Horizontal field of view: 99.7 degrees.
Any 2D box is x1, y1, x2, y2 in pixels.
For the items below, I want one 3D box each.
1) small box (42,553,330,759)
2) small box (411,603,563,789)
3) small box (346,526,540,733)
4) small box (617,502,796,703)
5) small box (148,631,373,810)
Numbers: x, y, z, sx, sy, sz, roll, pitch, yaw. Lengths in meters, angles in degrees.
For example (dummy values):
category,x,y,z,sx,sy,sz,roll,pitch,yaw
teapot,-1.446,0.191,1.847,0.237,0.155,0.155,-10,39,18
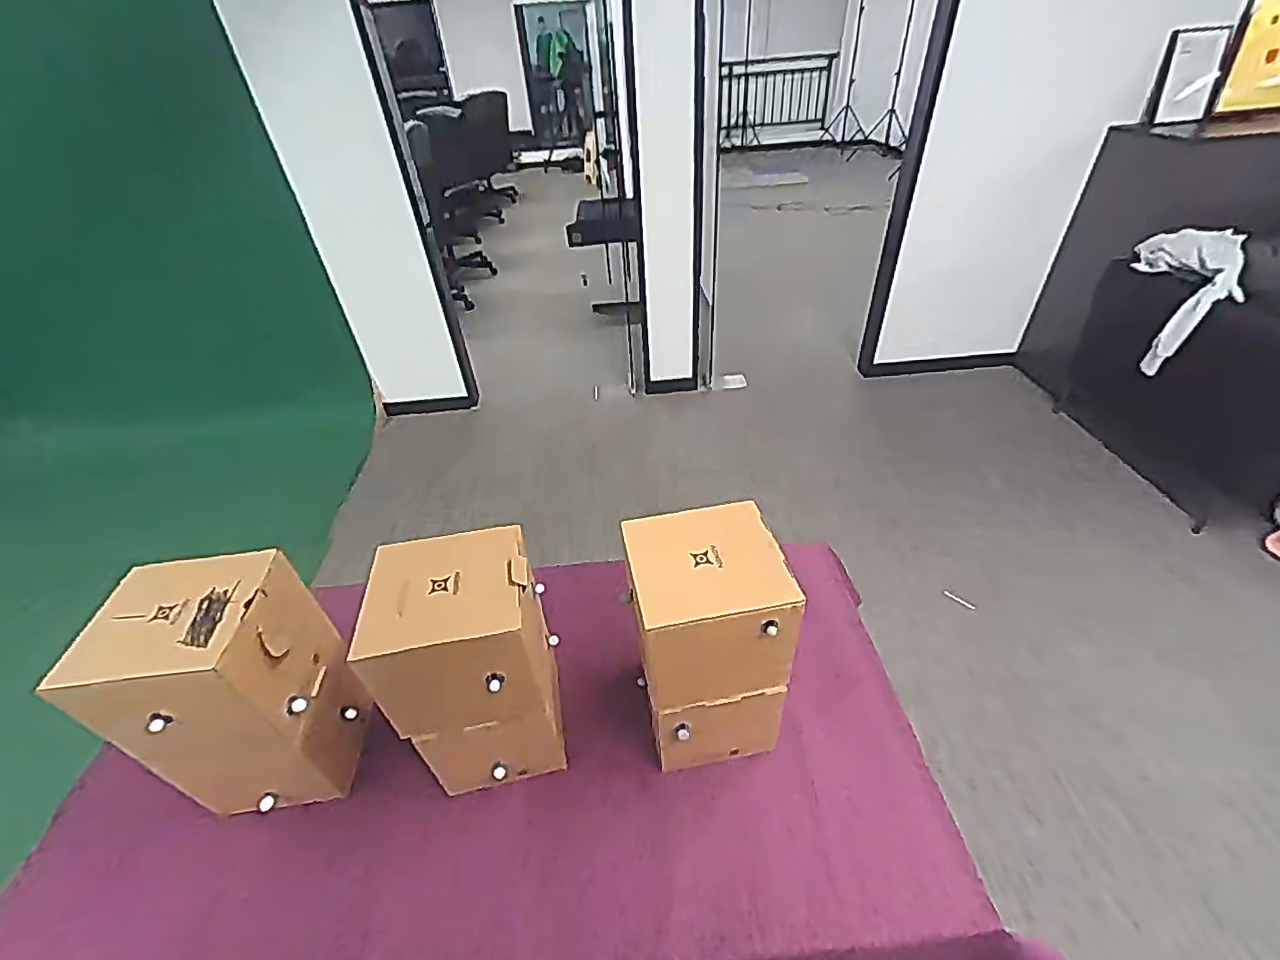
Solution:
category,x,y,z,sx,sy,sz,roll,pitch,yaw
small box,-0.514,0.212,0.653,0.179,0.176,0.168,-7,41,-2
small box,-0.208,0.305,0.773,0.168,0.176,0.179,-10,41,-6
small box,-0.220,0.183,0.665,0.179,0.176,0.168,-9,40,-5
small box,0.074,0.153,0.674,0.179,0.176,0.168,-9,40,-6
small box,-0.505,0.337,0.759,0.179,0.176,0.168,-6,40,-3
